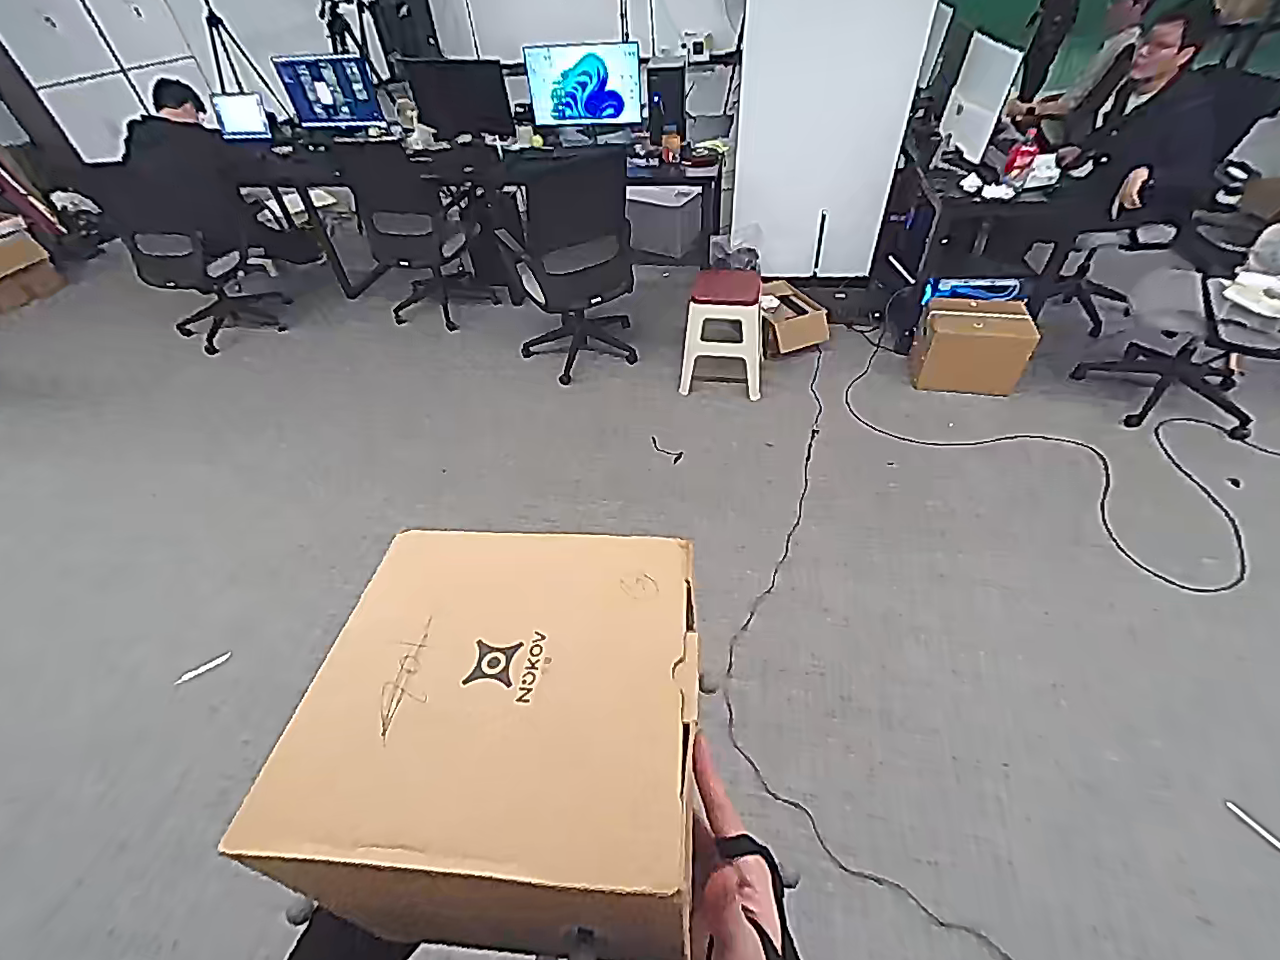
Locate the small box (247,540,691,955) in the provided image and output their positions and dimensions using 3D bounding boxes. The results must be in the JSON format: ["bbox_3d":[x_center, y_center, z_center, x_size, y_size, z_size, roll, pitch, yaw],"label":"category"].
[{"bbox_3d":[-0.059,0.153,0.316,0.179,0.176,0.168,-1,40,5],"label":"small box"}]
